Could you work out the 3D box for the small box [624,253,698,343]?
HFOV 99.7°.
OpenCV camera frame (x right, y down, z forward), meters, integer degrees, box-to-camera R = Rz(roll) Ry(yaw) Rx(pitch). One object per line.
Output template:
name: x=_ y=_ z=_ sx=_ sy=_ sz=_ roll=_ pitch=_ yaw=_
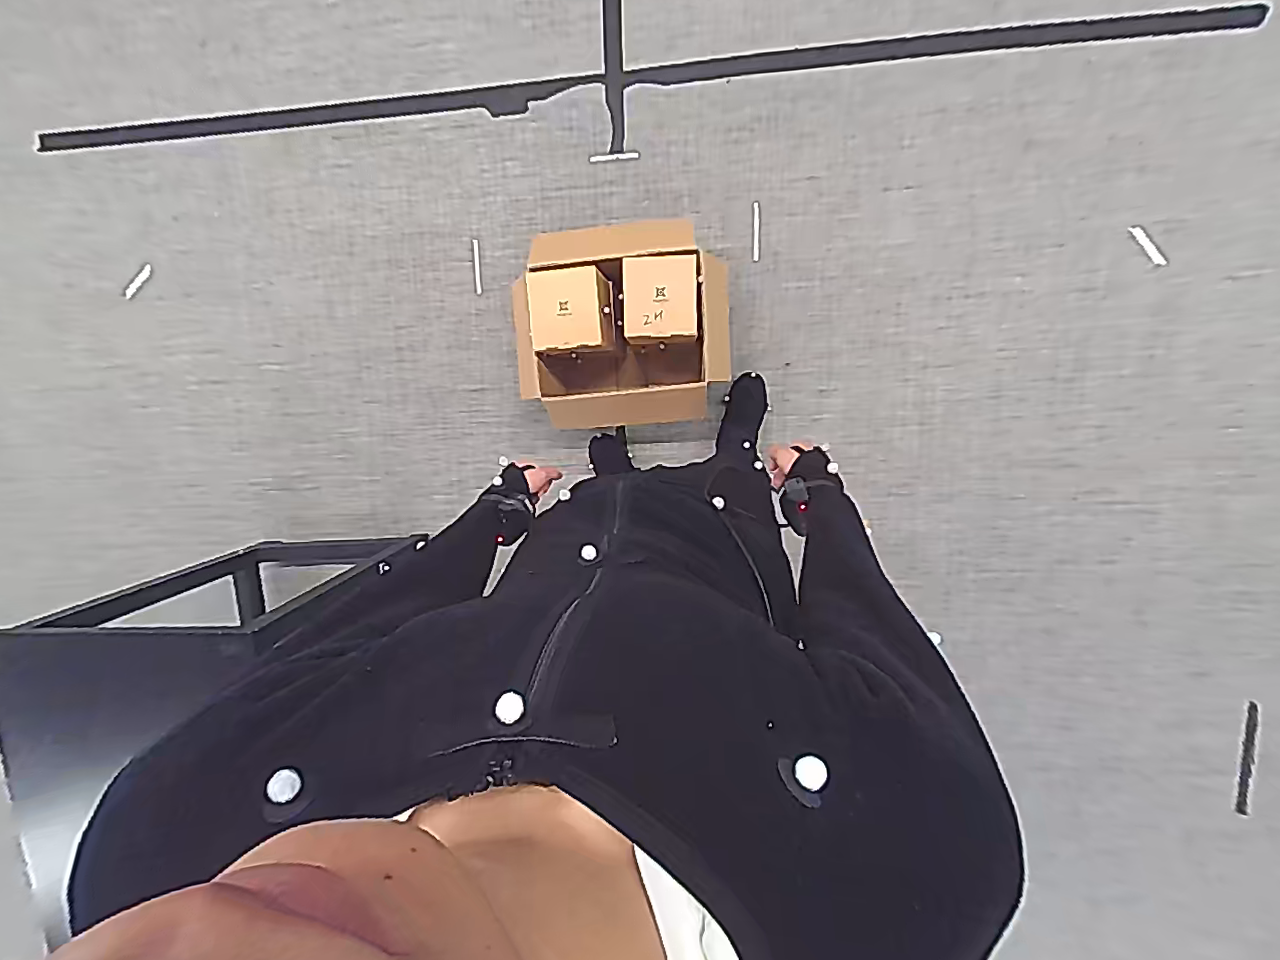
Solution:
small box: x=0.051 y=-0.422 z=1.274 sx=0.168 sy=0.176 sz=0.179 roll=0 pitch=99 yaw=6
